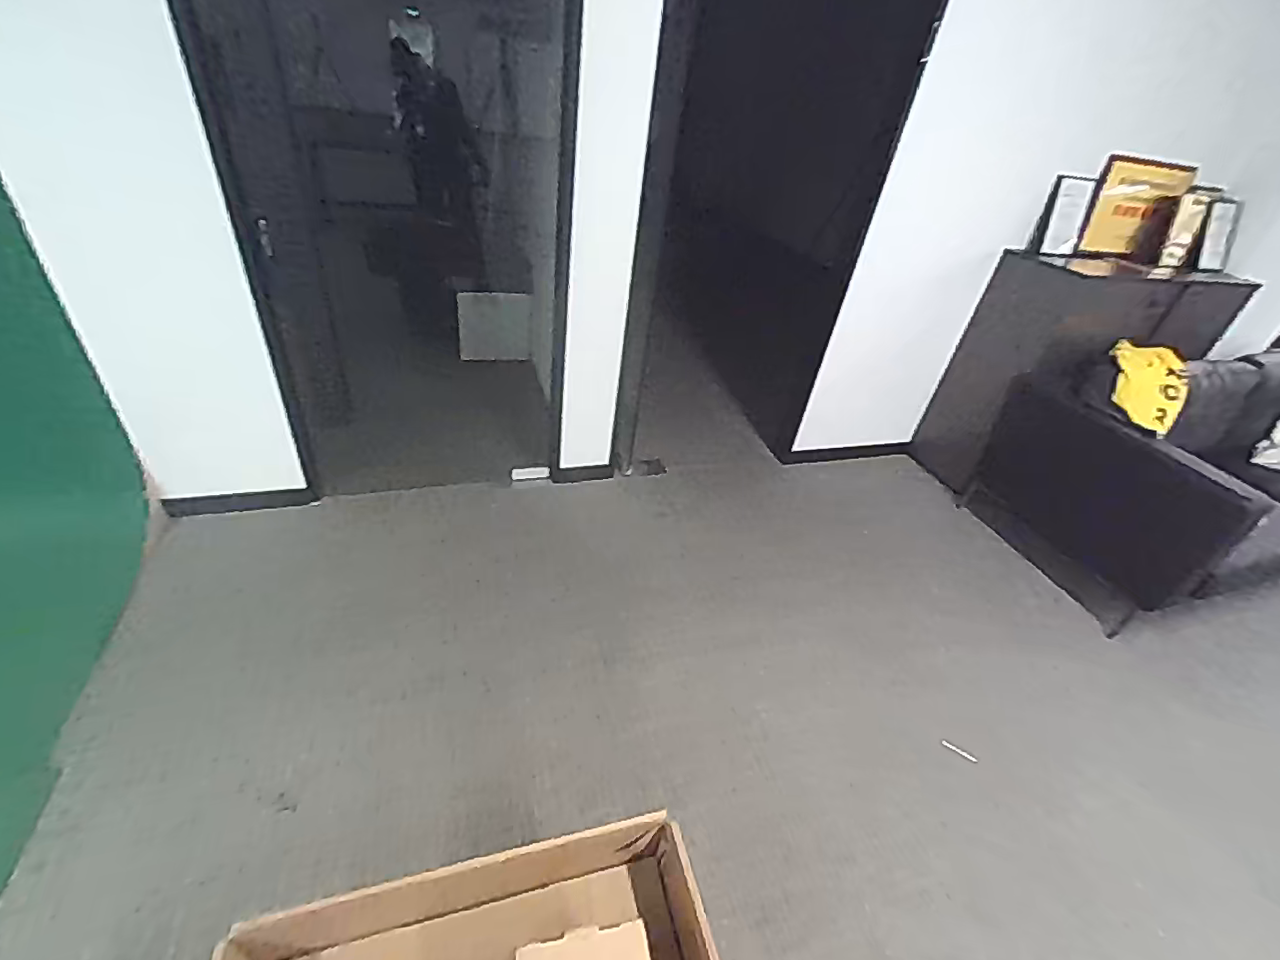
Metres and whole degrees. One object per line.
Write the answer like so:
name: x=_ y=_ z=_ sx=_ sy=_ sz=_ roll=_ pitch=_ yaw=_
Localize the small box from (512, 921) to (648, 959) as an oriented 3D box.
small box: x=-0.082 y=0.668 z=0.643 sx=0.168 sy=0.176 sz=0.179 roll=6 pitch=39 yaw=-20
